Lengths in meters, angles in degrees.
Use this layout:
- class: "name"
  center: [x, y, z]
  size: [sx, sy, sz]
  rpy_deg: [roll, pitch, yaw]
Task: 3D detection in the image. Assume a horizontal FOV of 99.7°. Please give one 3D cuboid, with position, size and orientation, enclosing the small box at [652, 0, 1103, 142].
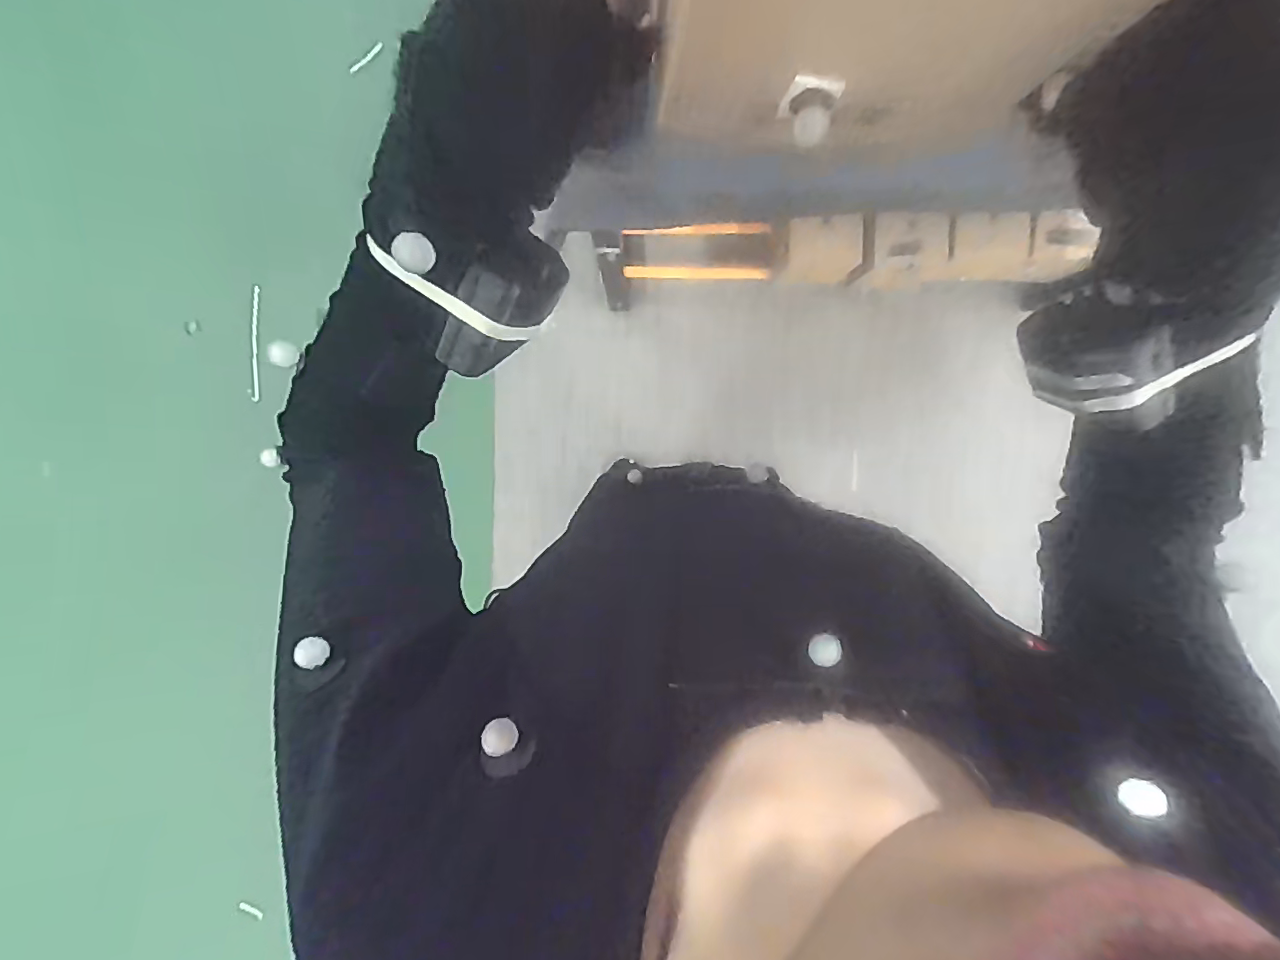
- class: "small box"
  center: [0.092, -0.262, 0.199]
  size: [0.168, 0.176, 0.179]
  rpy_deg: [0, 96, -3]
